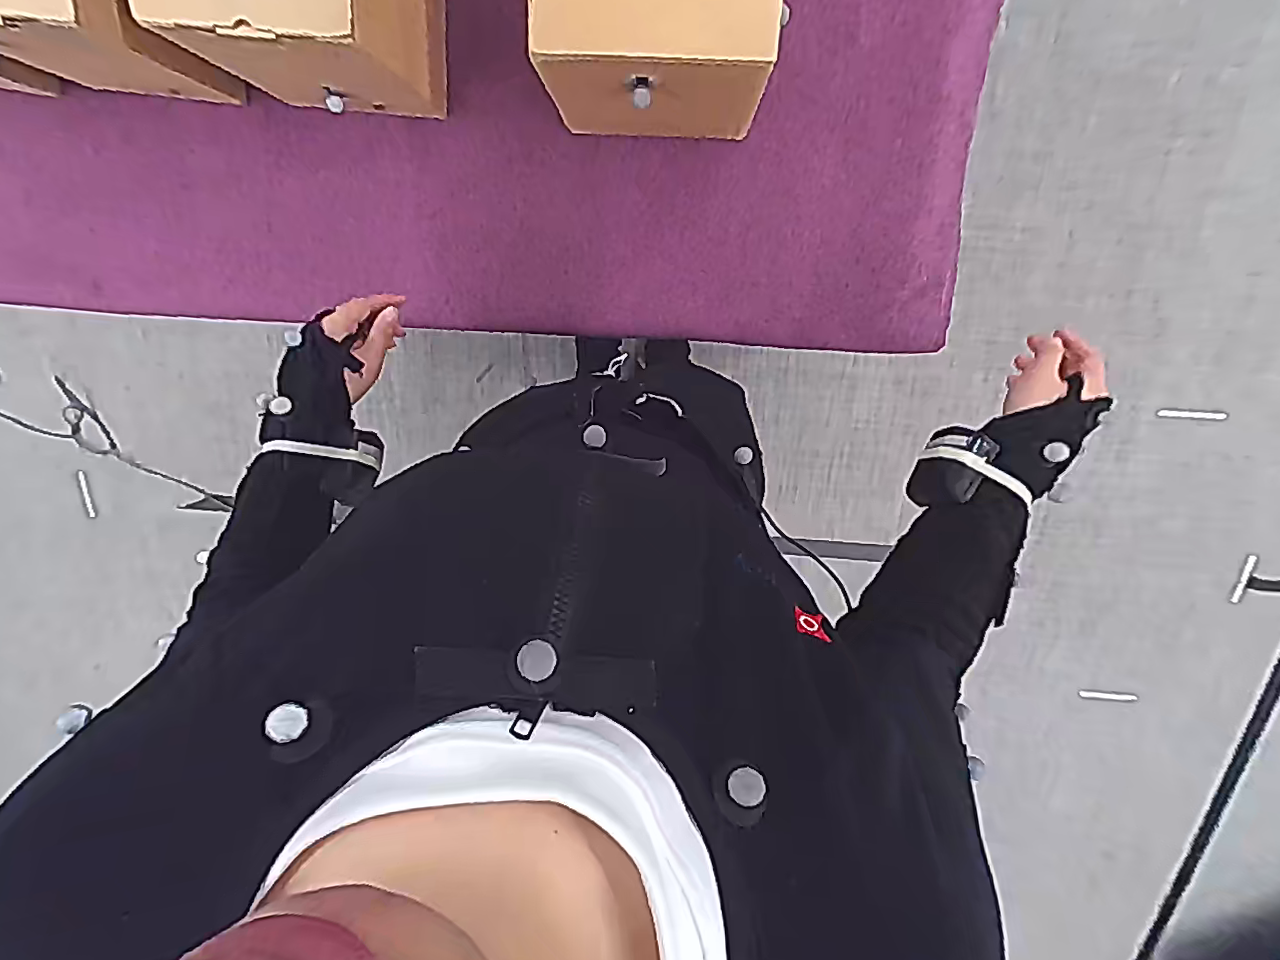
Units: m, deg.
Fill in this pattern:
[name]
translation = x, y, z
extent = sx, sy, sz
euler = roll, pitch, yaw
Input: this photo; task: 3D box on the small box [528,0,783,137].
[small box]
translation = 0.017, -0.393, 0.431
extent = 0.179, 0.176, 0.168
euler = 4, 107, 3
